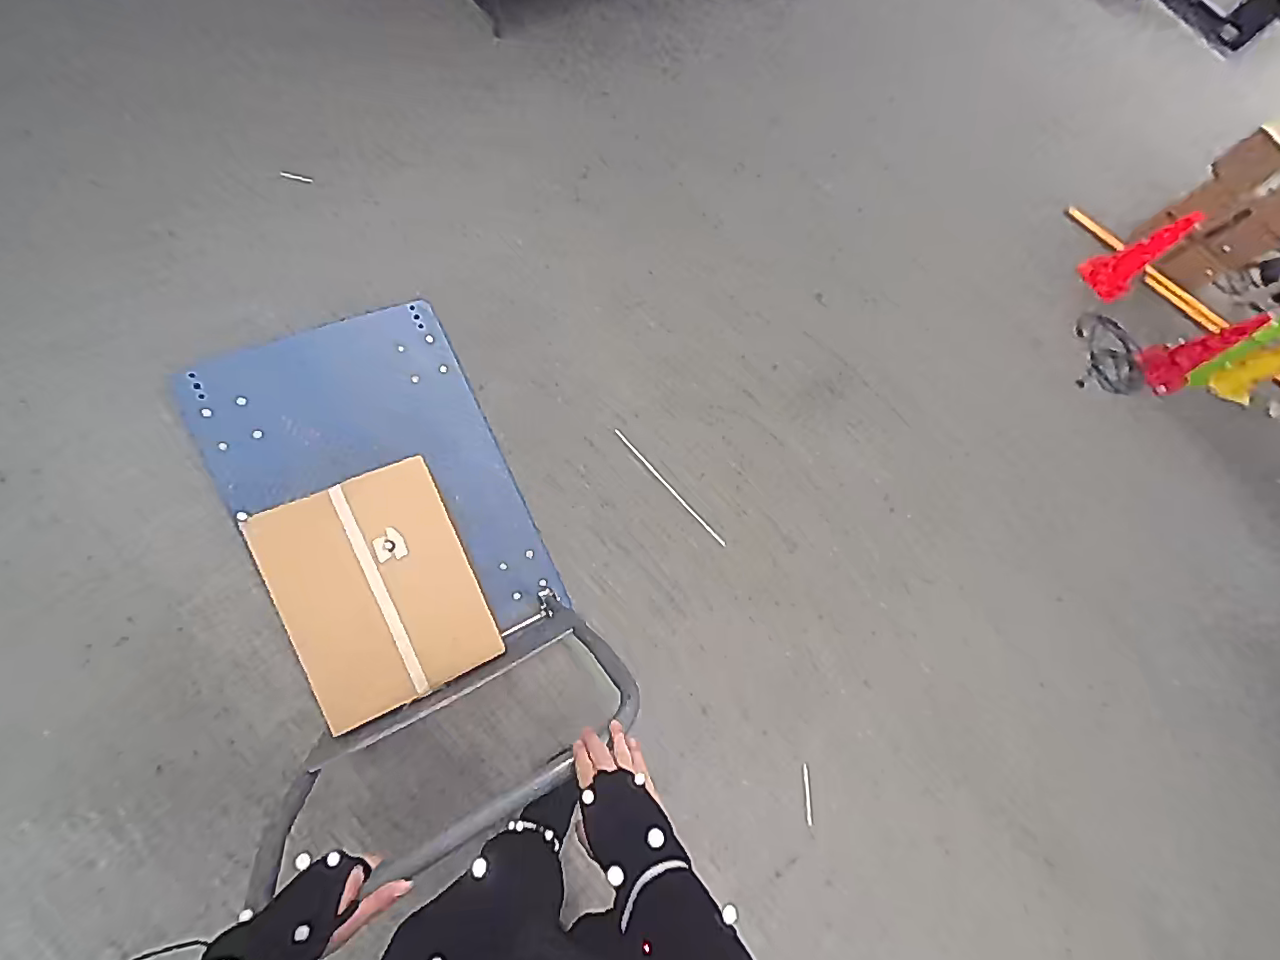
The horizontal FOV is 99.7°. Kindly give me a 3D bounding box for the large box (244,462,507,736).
[{"bbox_3d":[-0.501,0.220,1.108,0.320,0.320,0.408,-24,91,-19],"label":"large box"}]
